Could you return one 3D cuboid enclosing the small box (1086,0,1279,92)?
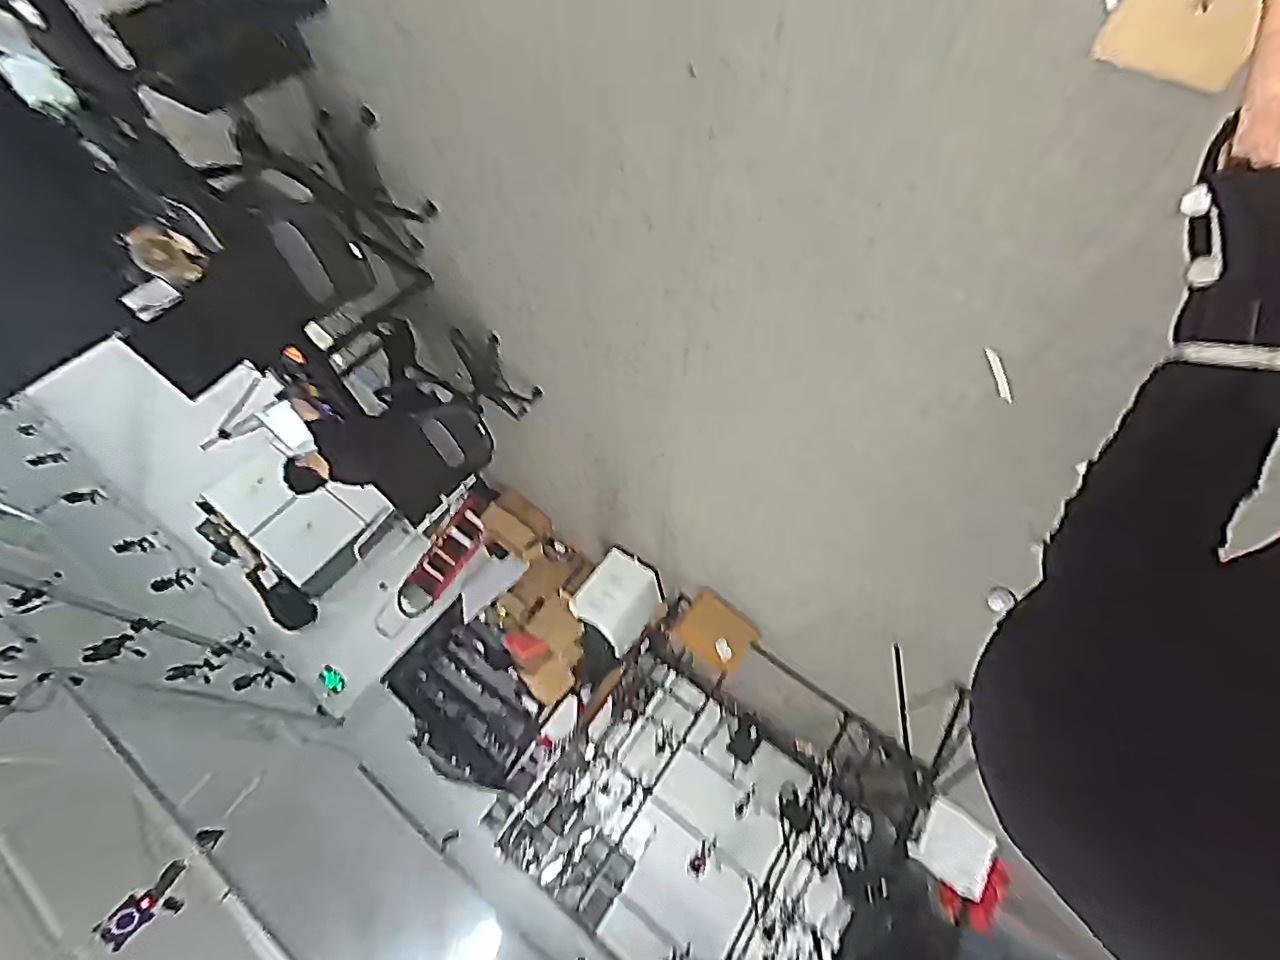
[{"bbox_3d":[0.723,-0.639,0.673,0.168,0.176,0.179,32,157,16],"label":"small box"}]
